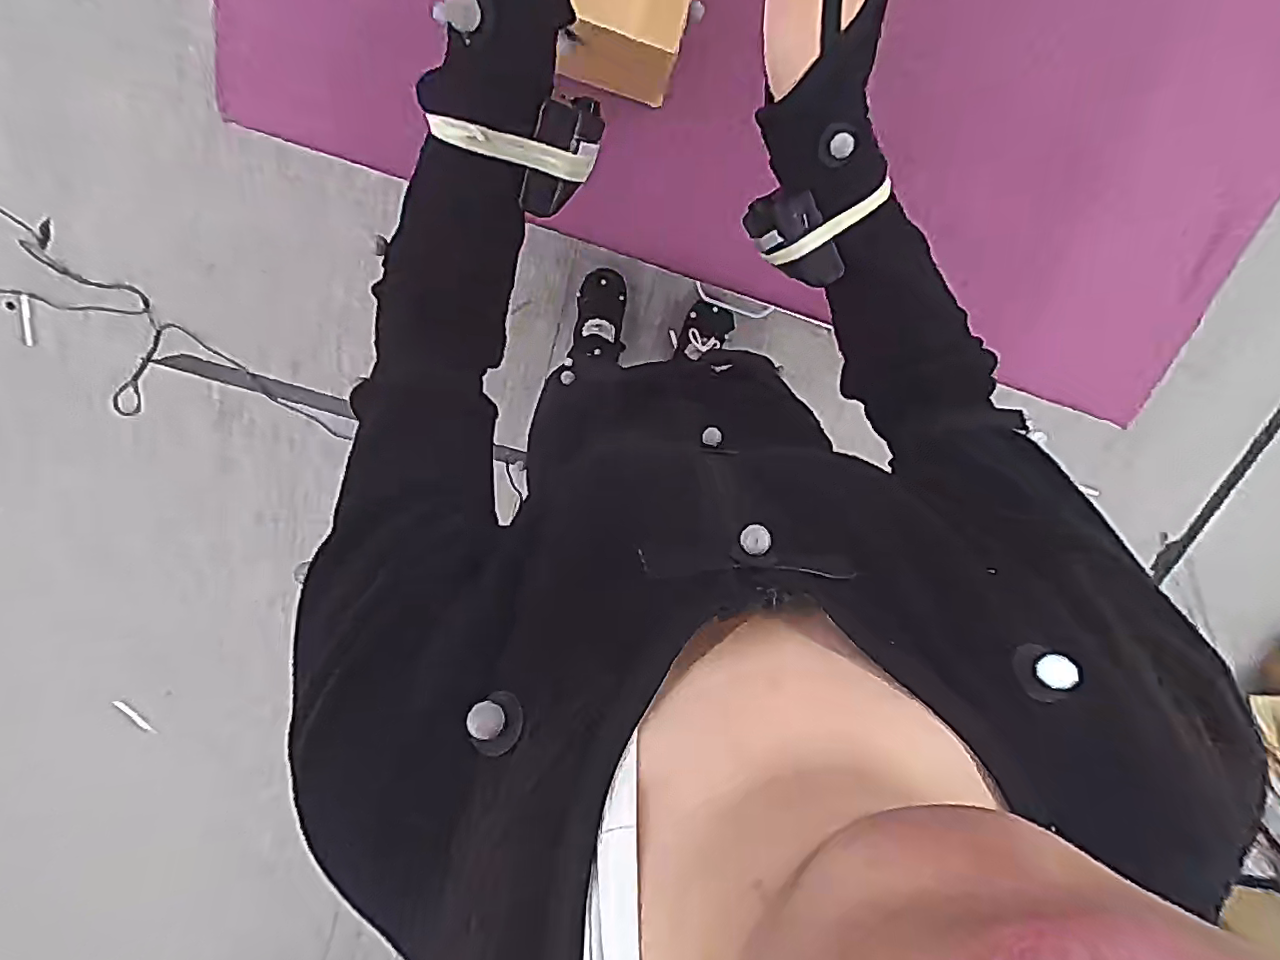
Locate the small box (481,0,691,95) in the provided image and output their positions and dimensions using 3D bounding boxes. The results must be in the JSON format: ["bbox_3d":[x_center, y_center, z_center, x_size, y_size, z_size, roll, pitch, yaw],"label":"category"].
[{"bbox_3d":[-0.034,-0.480,0.487,0.179,0.176,0.168,14,111,-7],"label":"small box"}]
